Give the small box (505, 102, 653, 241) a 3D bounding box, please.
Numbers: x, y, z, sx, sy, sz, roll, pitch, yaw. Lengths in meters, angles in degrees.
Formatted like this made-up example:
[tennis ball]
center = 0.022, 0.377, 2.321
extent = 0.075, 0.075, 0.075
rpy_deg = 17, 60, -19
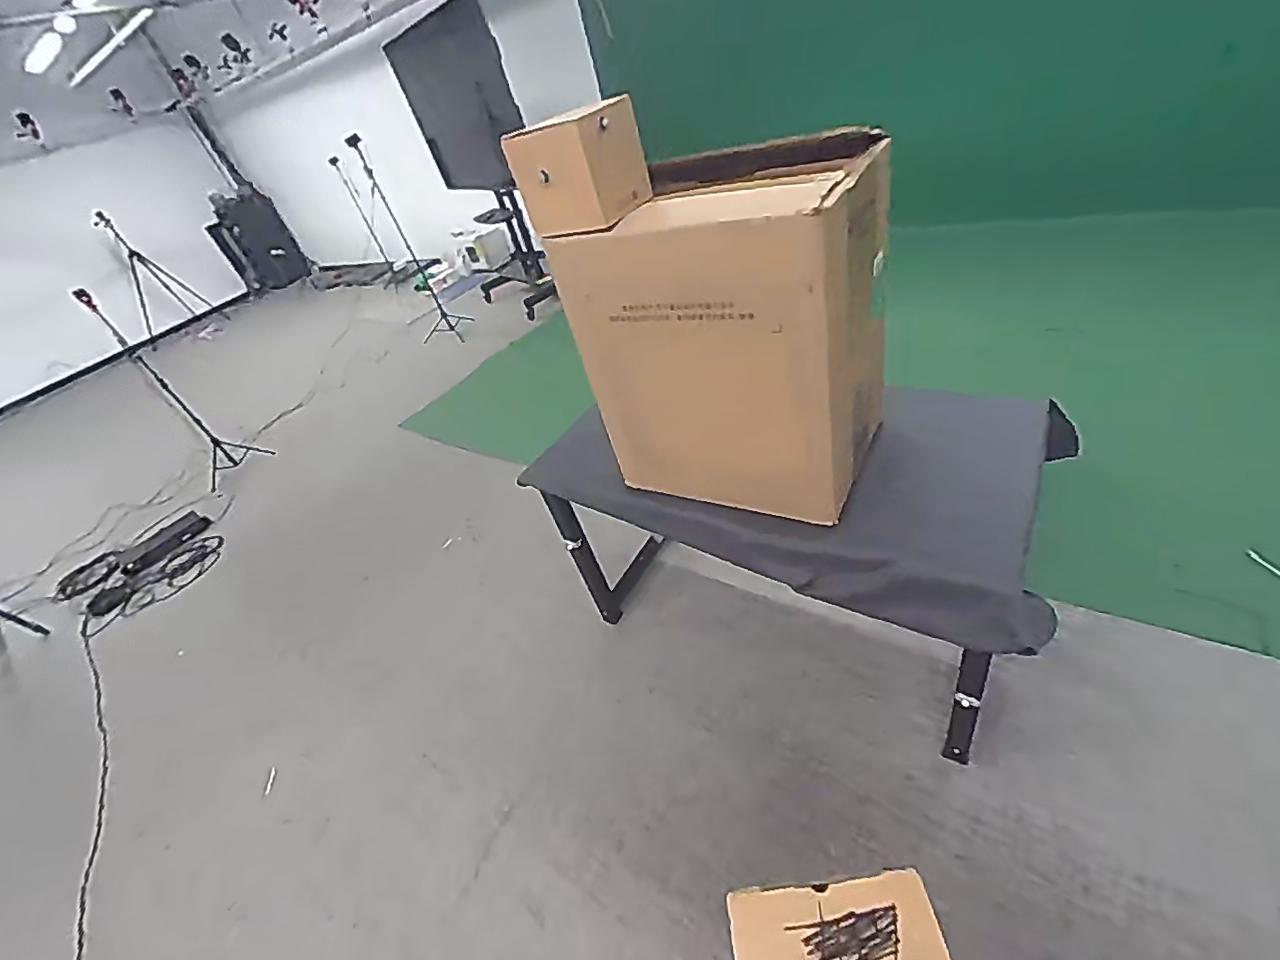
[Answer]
[small box]
center = -0.102, -0.548, 0.977
extent = 0.179, 0.176, 0.168
rpy_deg = 10, 47, 34
